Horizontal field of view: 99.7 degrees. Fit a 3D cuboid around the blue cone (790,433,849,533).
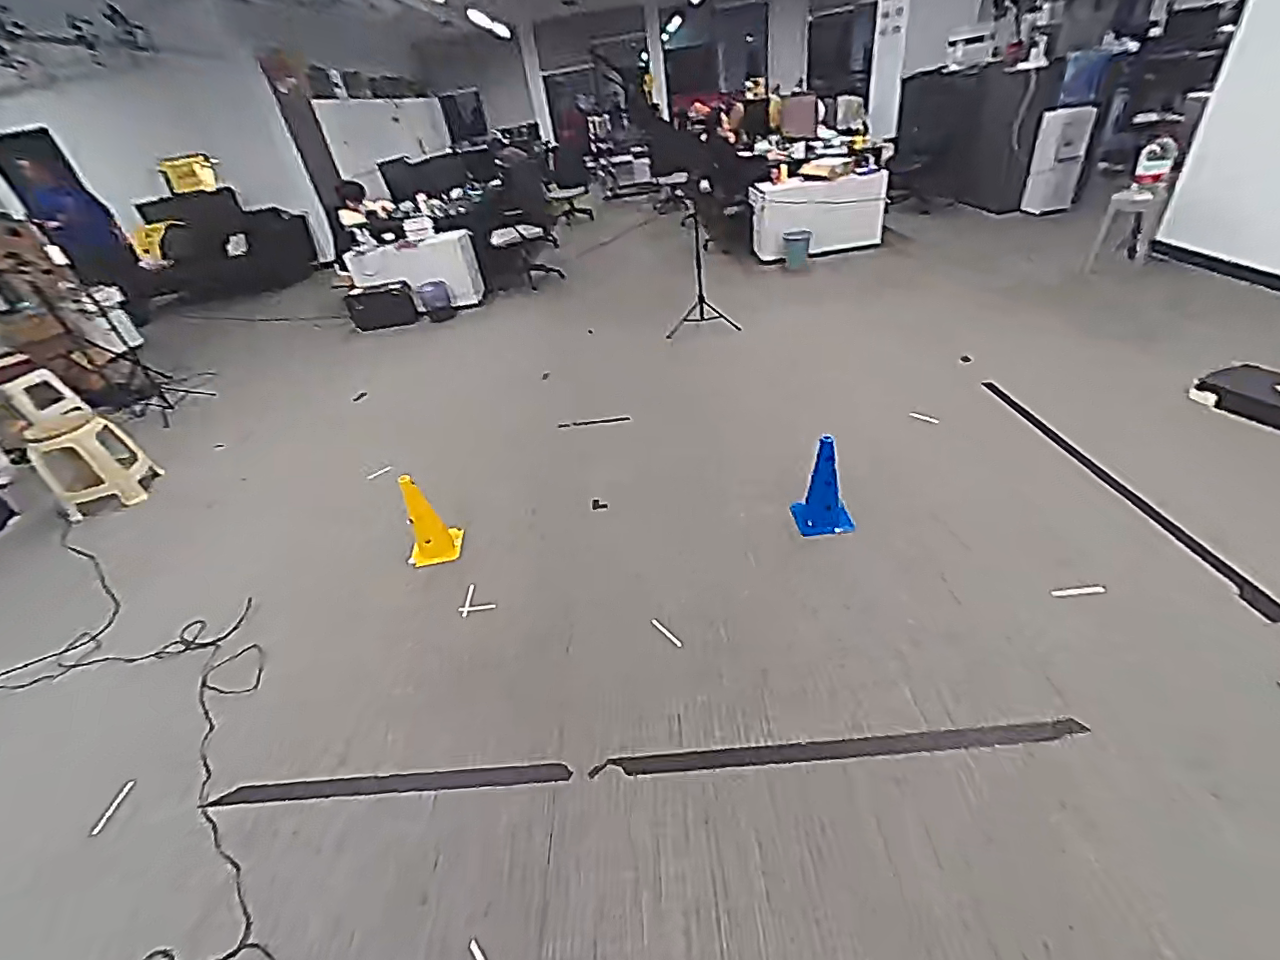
[{"bbox_3d":[0.664,0.003,1.982,0.193,0.380,0.192,-7,34,4],"label":"blue cone"}]
